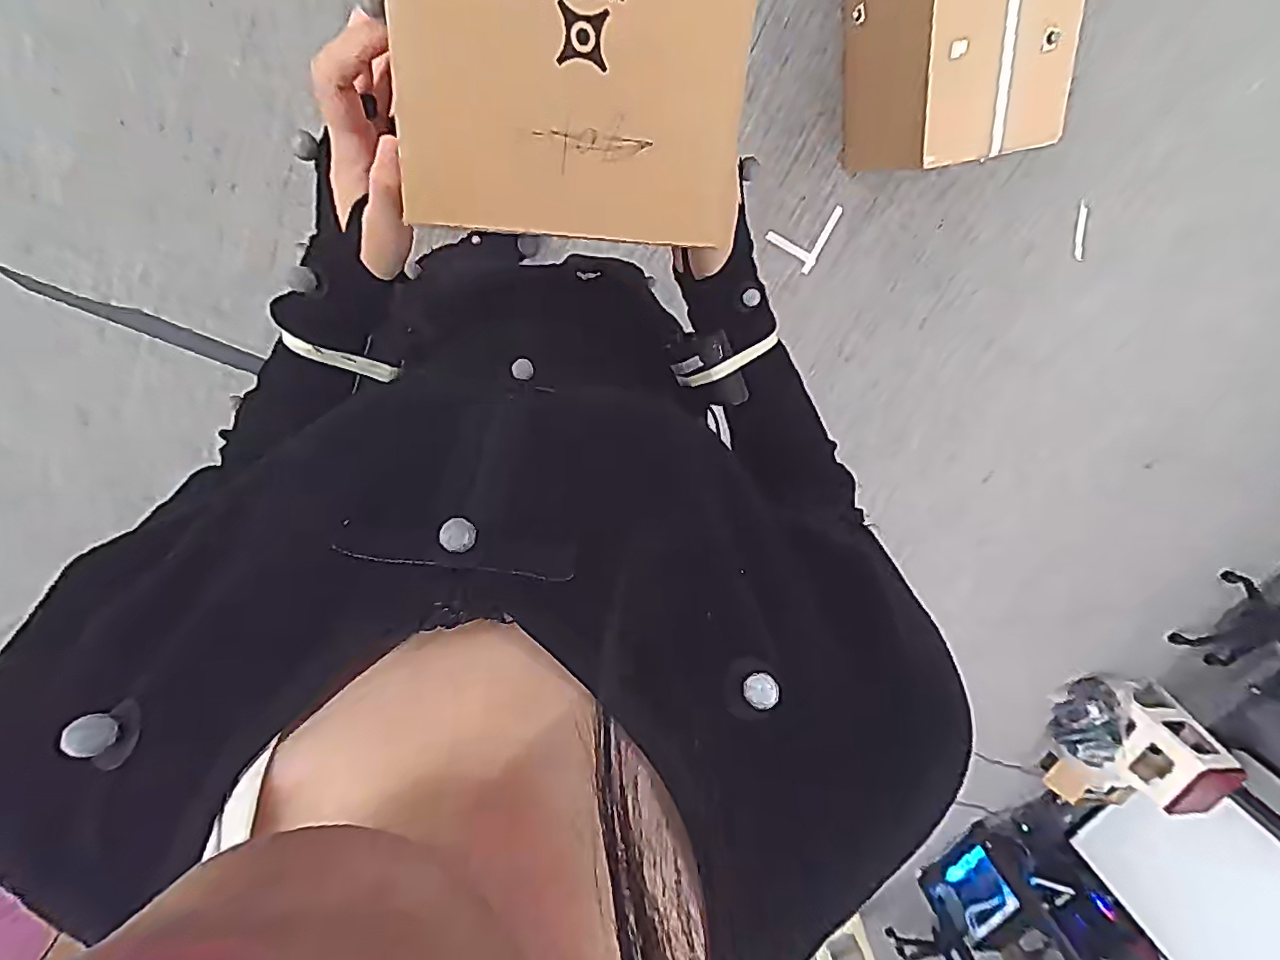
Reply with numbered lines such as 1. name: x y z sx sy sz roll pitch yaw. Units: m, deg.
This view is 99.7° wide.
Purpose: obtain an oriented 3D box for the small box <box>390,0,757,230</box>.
1. small box: -0.046 -0.246 0.306 0.168 0.176 0.179 -3 118 -16
